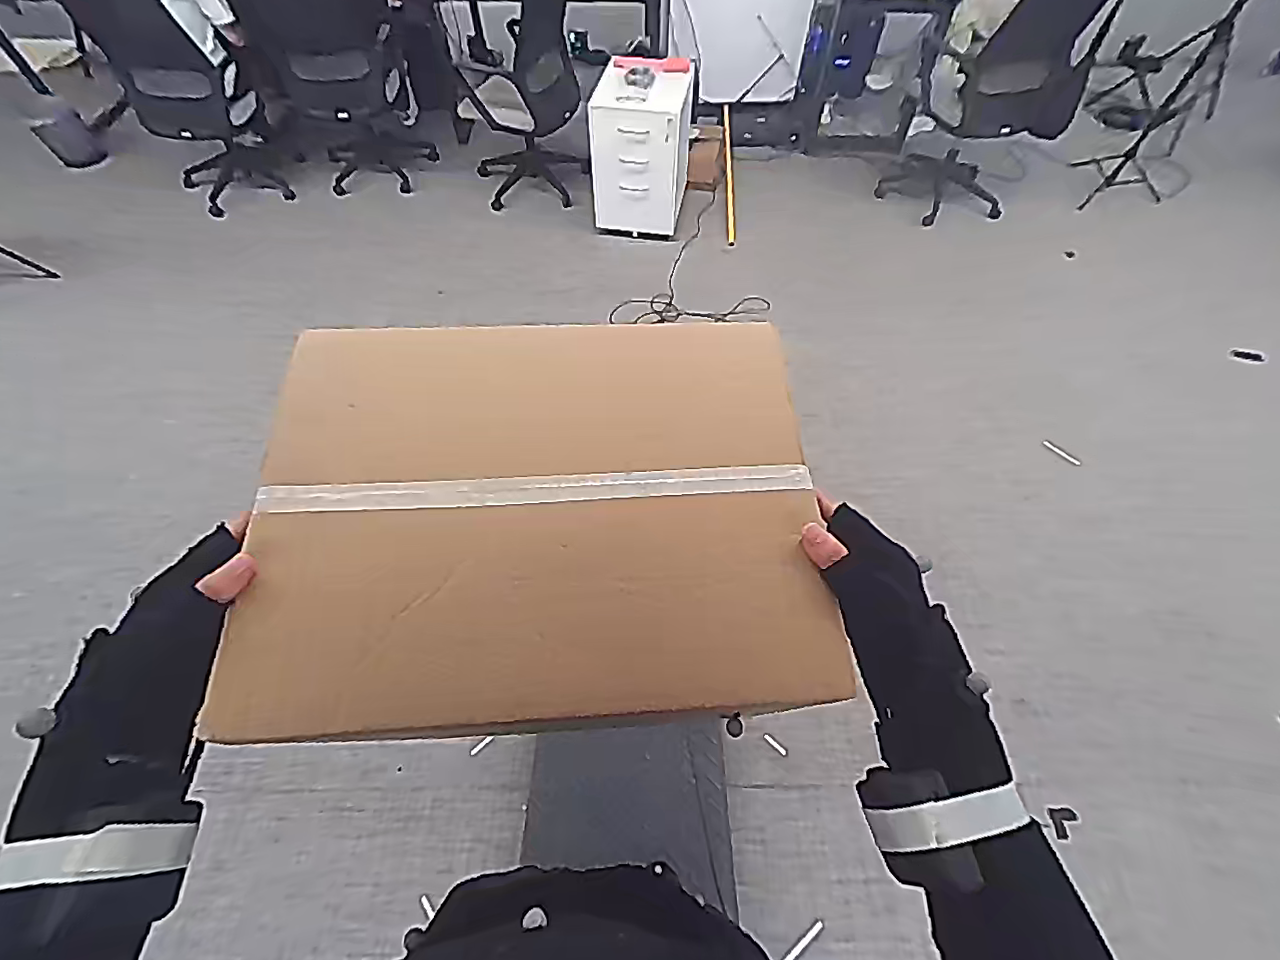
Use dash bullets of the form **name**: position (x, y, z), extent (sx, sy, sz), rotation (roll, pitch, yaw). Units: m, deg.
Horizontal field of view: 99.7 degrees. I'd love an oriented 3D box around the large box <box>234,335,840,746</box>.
- **large box**: position (-0.075, 0.079, 0.549), extent (0.408, 0.320, 0.320), rotation (-2, 64, -4)
